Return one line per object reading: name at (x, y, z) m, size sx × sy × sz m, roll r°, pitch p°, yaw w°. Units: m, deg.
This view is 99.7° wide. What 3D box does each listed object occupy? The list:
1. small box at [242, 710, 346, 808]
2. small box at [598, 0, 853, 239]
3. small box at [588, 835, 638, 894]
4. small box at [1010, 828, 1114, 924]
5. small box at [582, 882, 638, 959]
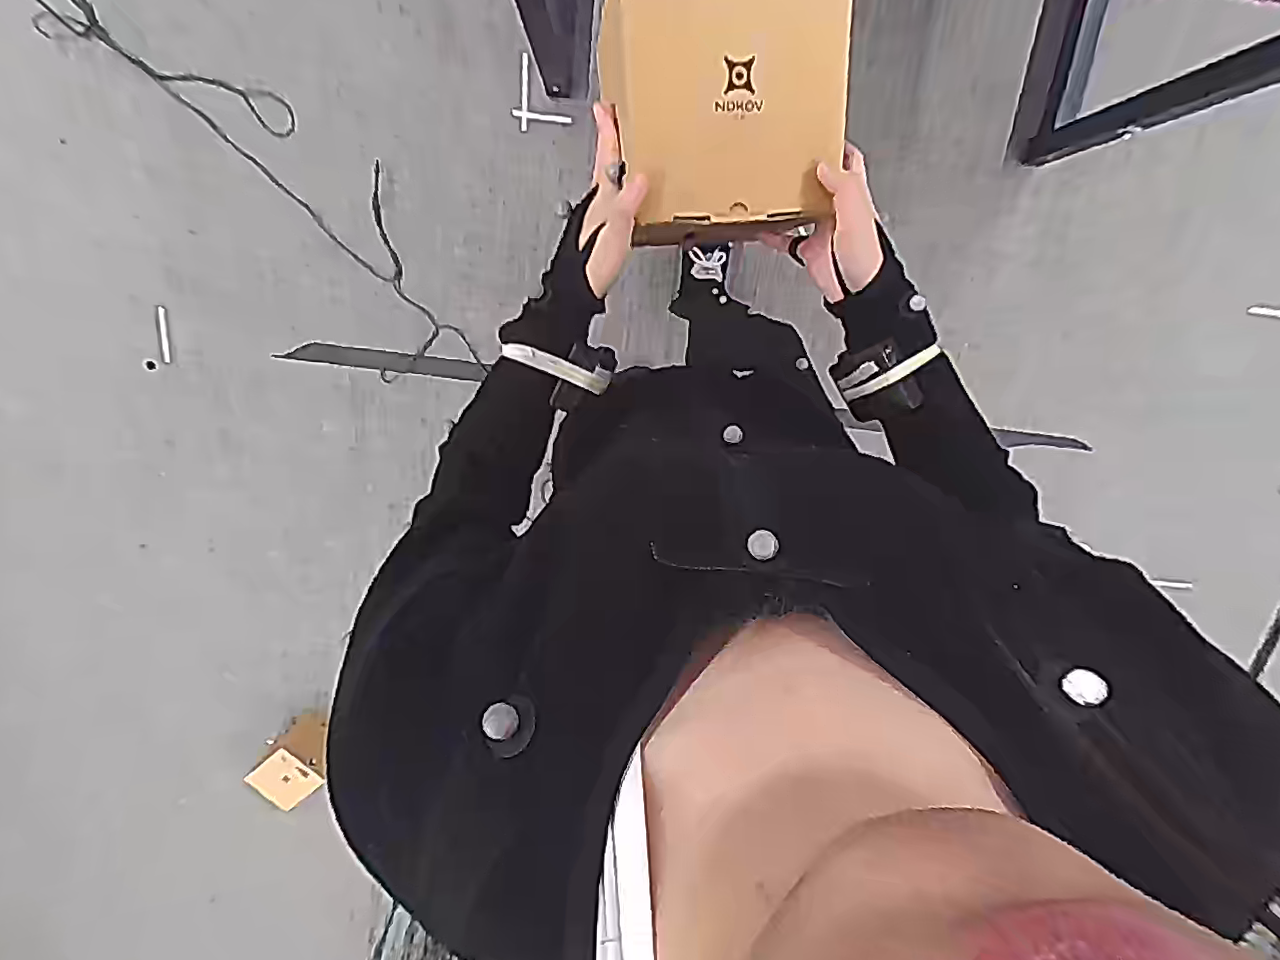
small box at (-1.057, 0.855, 1.668) m, size 0.179 × 0.176 × 0.168 m, roll -38°, pitch 104°, yaw 10°
small box at (0.057, -0.311, 0.458) m, size 0.168 × 0.176 × 0.179 m, roll -6°, pitch 109°, yaw -7°
small box at (-0.096, 1.361, 1.864) m, size 0.168 × 0.176 × 0.179 m, roll 2°, pitch 109°, yaw -2°
small box at (1.315, 1.244, 1.702) m, size 0.168 × 0.176 × 0.179 m, roll 9°, pitch 106°, yaw -6°
small box at (-0.096, 1.410, 1.707) m, size 0.168 × 0.176 × 0.179 m, roll 3°, pitch 108°, yaw -2°
